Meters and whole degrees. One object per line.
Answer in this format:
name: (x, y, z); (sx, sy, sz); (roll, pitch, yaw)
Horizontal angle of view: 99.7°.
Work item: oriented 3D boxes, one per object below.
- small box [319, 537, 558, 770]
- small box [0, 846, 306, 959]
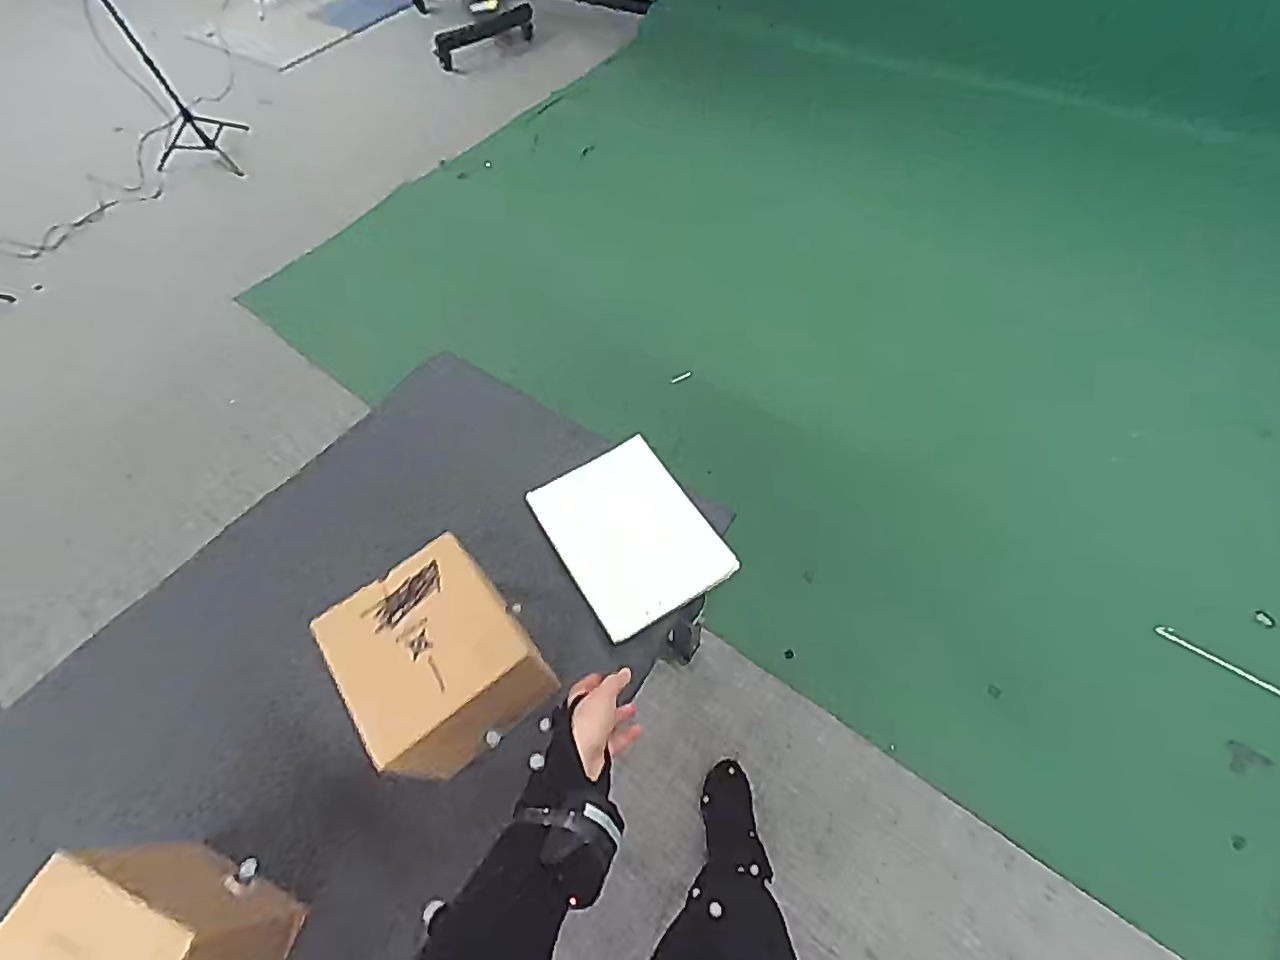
small box: (-0.217, 0.204, 0.619); (0.168, 0.176, 0.179); (-36, 63, -16)
small box: (-0.454, 0.461, 0.487); (0.168, 0.176, 0.179); (16, 60, 12)
